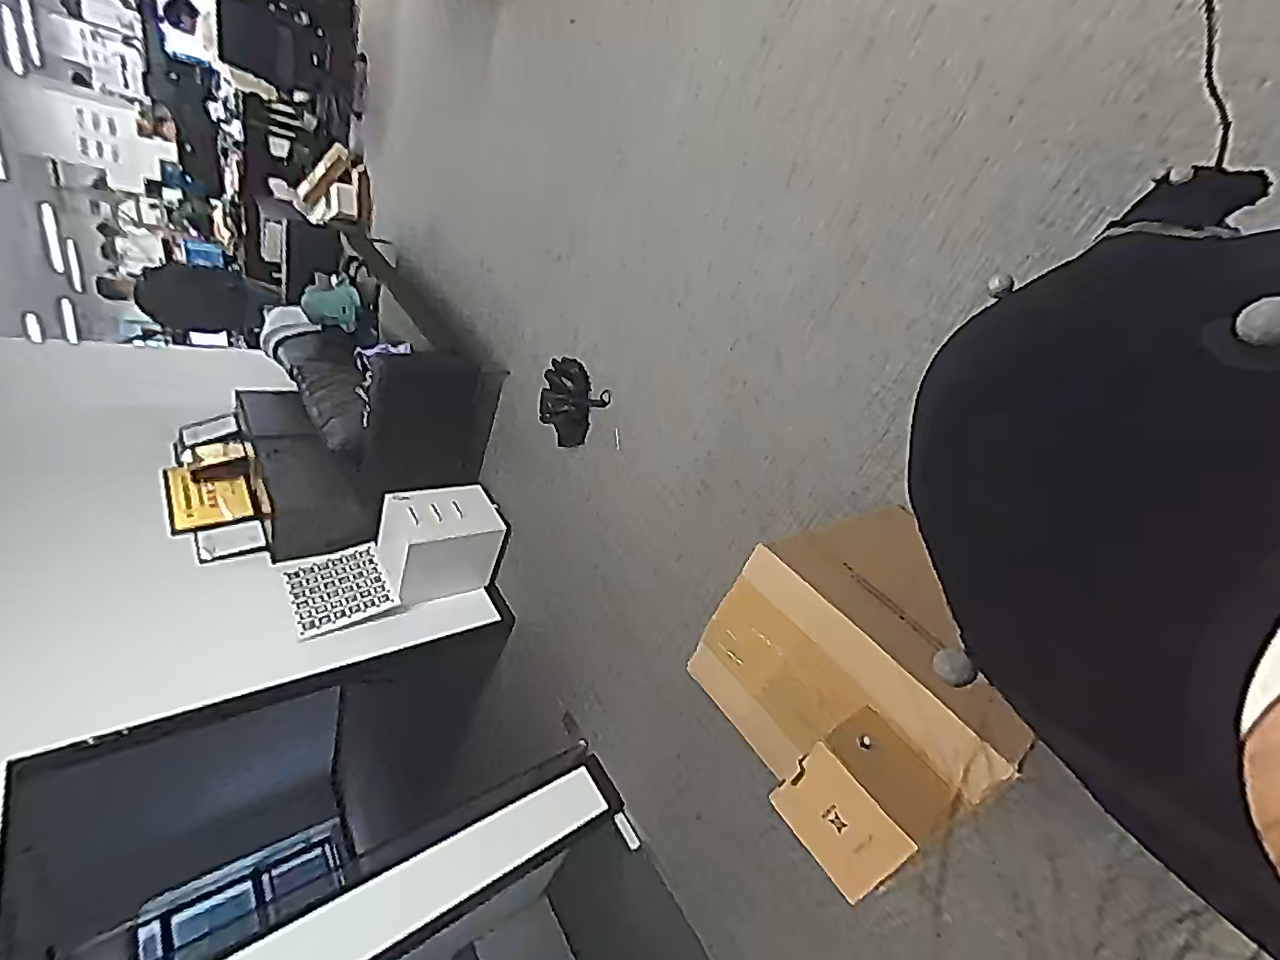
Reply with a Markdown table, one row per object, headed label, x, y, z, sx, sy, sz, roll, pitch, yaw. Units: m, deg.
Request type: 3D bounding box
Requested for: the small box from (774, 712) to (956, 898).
| label | x | y | z | sx | sy | sz | roll | pitch | yaw |
| --- | --- | --- | --- | --- | --- | --- | --- | --- | --- |
| small box | 0.358 | 0.500 | 0.865 | 0.179 | 0.176 | 0.168 | 44 | 122 | 35 |
